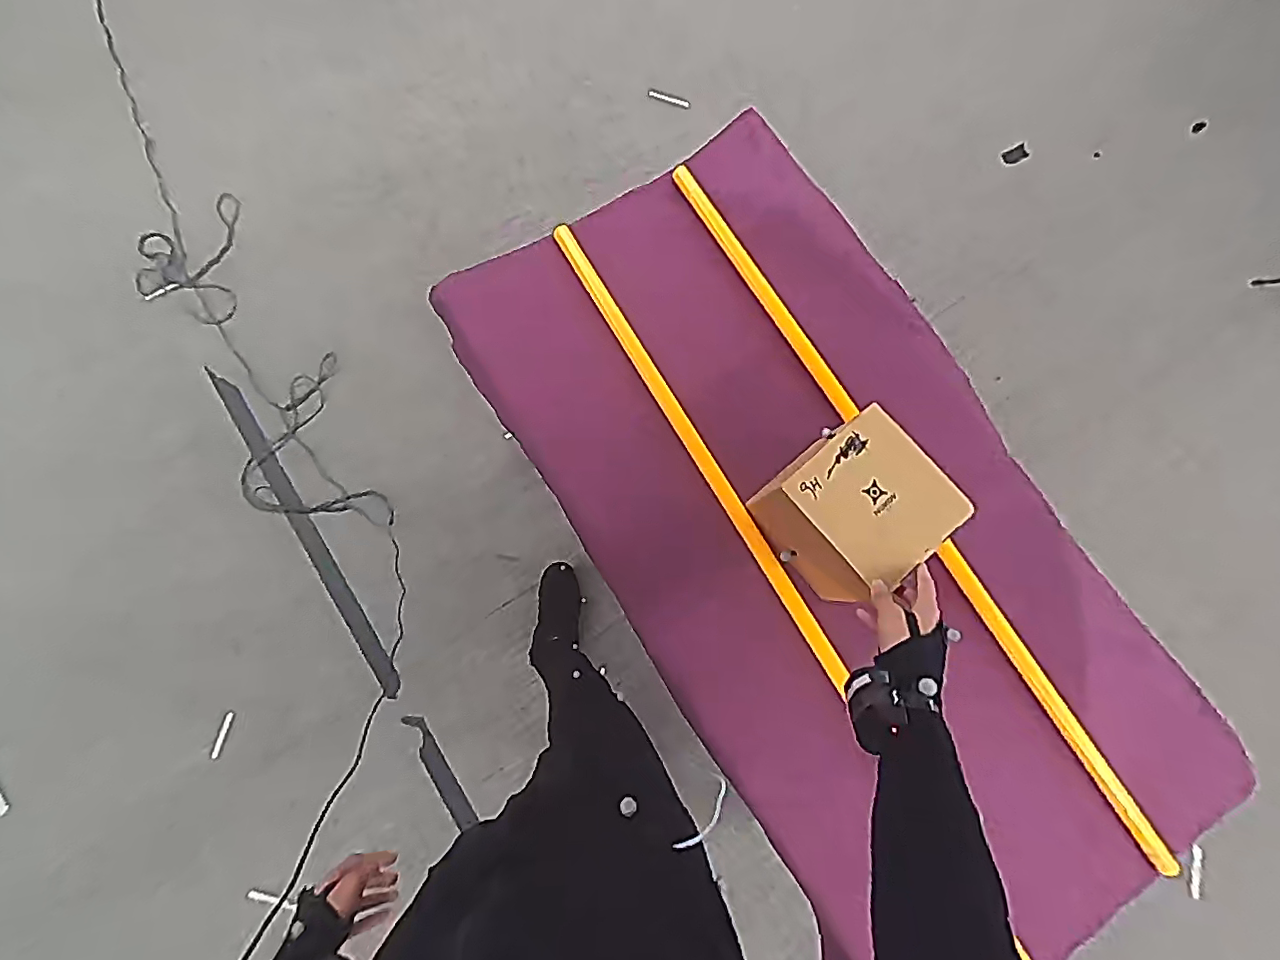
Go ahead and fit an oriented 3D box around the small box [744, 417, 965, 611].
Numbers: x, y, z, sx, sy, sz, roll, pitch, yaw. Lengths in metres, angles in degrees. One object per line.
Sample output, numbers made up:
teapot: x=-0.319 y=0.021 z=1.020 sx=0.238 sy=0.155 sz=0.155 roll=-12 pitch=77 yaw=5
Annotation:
small box: x=0.267 y=0.049 z=0.715 sx=0.168 sy=0.176 sz=0.179 roll=-39 pitch=85 yaw=-10
